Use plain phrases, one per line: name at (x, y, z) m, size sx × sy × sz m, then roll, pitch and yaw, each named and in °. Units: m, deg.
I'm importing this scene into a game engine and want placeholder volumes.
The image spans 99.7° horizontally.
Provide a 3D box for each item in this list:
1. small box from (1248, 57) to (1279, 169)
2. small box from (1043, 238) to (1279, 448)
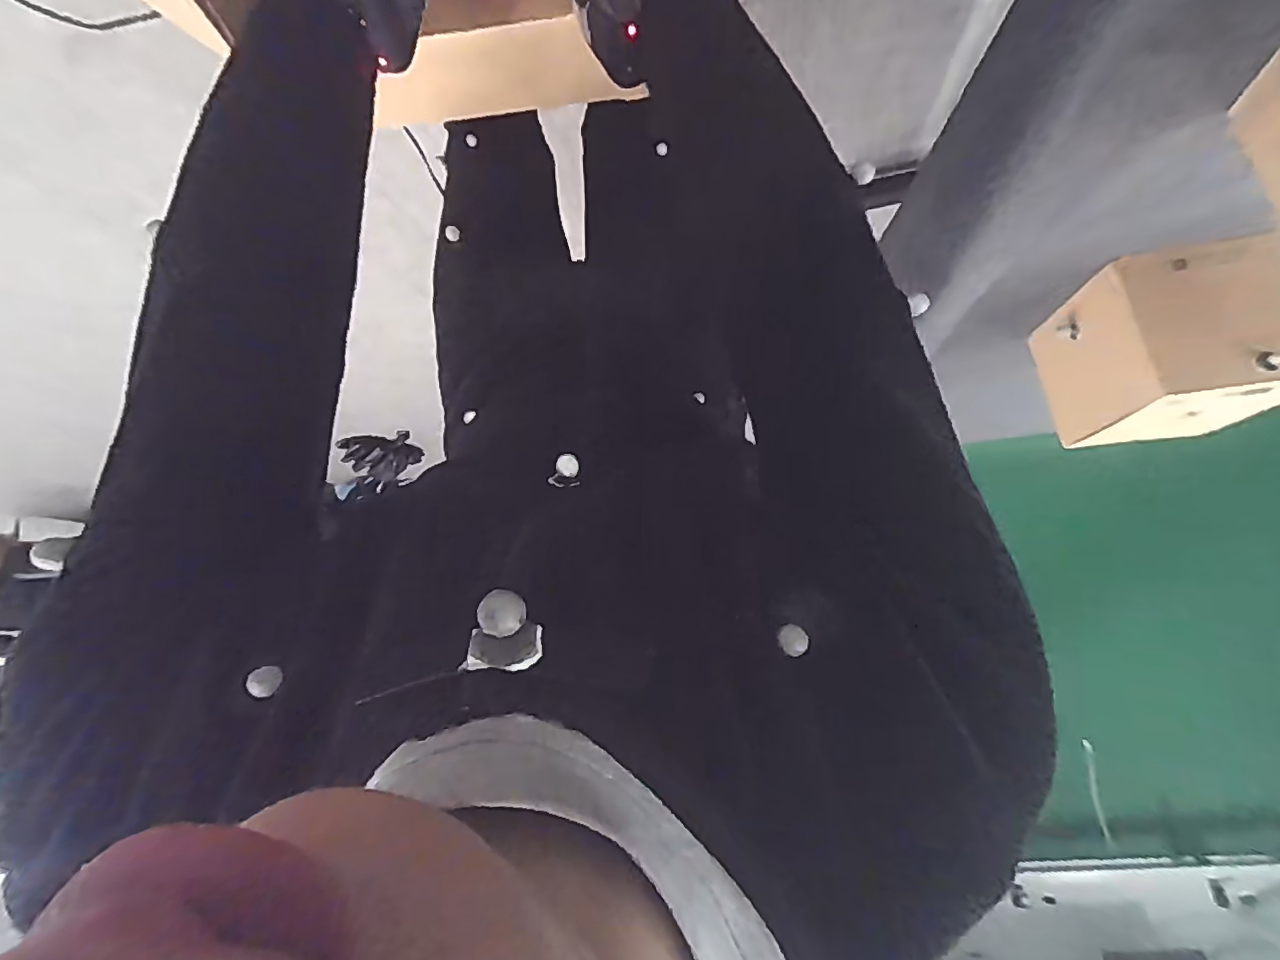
small box at (0.511, -0.238, 0.290) m, size 0.179 × 0.176 × 0.168 m, roll -12°, pitch 165°, yaw 17°
small box at (0.614, -0.149, 0.634) m, size 0.168 × 0.176 × 0.179 m, roll -7°, pitch 165°, yaw 7°
